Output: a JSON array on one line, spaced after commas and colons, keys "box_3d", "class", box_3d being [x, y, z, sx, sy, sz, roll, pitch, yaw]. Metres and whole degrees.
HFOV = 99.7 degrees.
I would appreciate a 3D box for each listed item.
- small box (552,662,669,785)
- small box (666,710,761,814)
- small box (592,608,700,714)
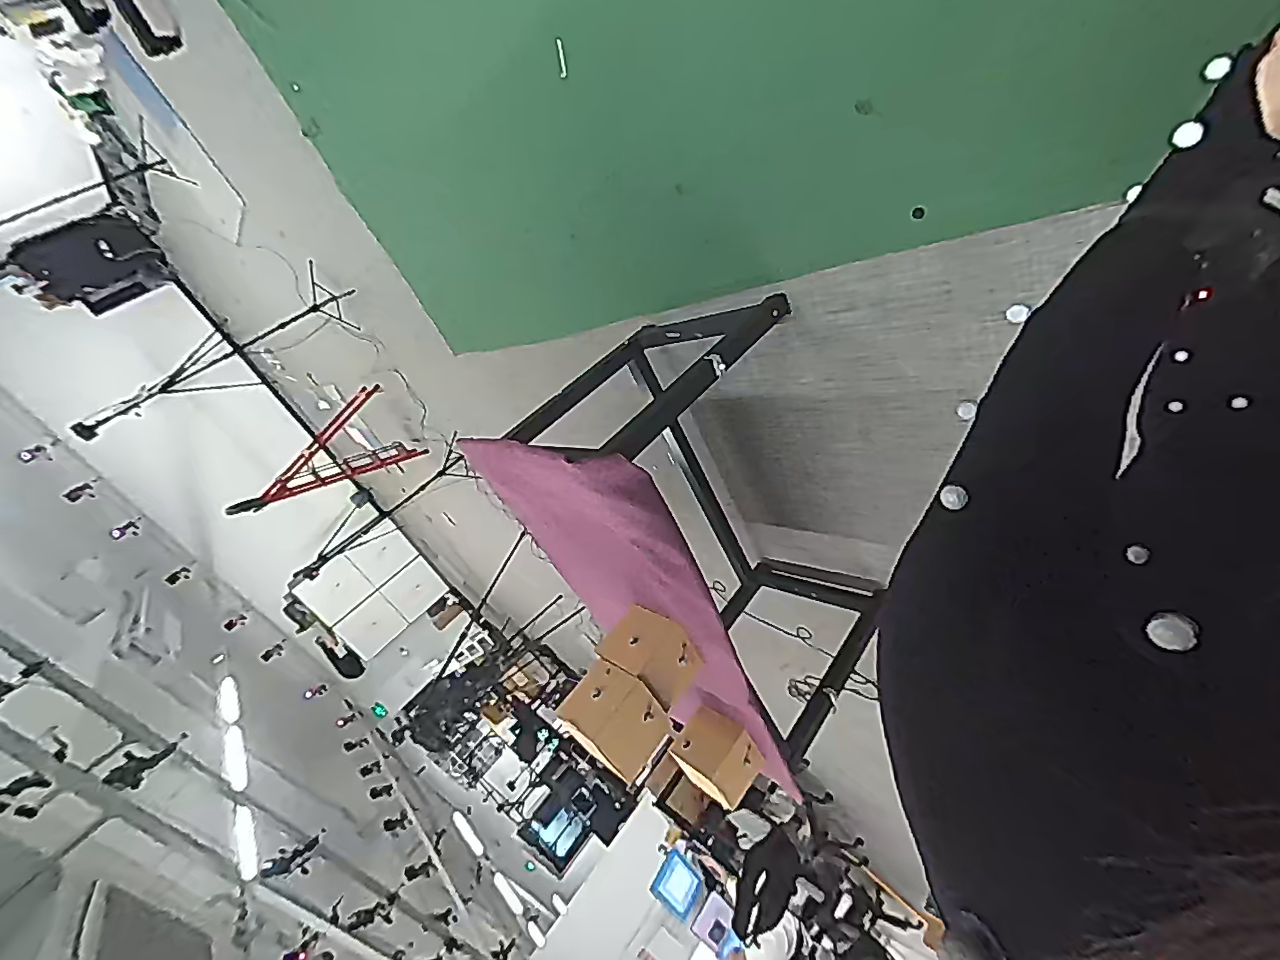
[{"box_3d": [-0.066, 0.559, 1.265, 0.168, 0.176, 0.179, 5, 132, 52], "class": "small box"}, {"box_3d": [0.212, 0.792, 1.542, 0.179, 0.176, 0.168, 7, 134, 52], "class": "small box"}, {"box_3d": [0.017, 0.449, 1.358, 0.179, 0.176, 0.168, 8, 135, 49], "class": "small box"}]
